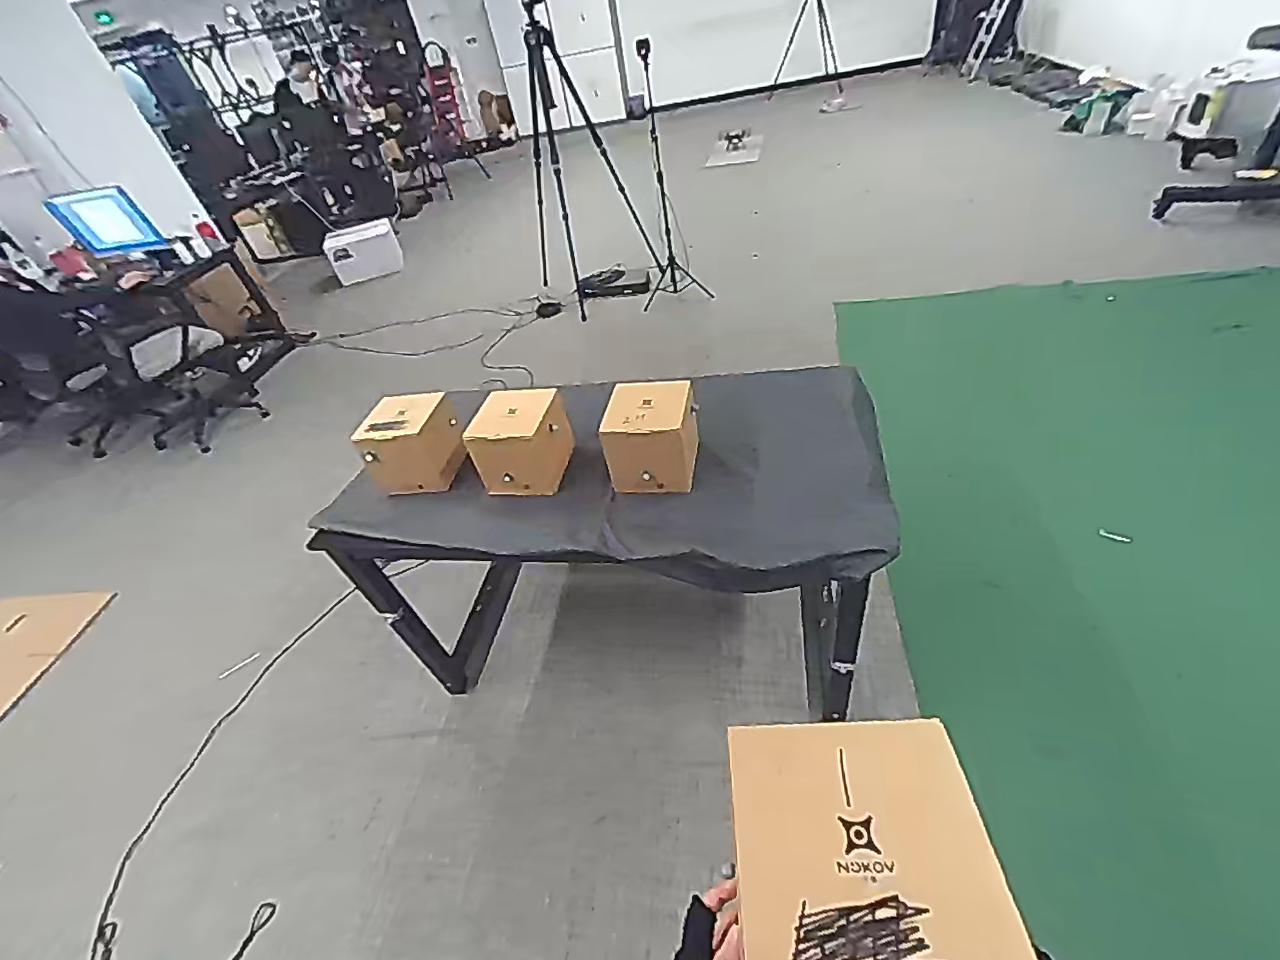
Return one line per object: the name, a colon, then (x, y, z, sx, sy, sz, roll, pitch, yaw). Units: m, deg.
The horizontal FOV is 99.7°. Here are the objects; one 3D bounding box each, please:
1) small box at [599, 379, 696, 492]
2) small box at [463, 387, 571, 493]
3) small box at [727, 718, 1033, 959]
small box: (0.025, -0.096, 1.150, 0.168, 0.176, 0.179, 0, 43, 14)
small box: (-0.265, -0.092, 1.219, 0.168, 0.176, 0.179, 0, 44, 13)
small box: (0.159, 0.307, 0.409, 0.168, 0.176, 0.179, -5, 38, 8)
